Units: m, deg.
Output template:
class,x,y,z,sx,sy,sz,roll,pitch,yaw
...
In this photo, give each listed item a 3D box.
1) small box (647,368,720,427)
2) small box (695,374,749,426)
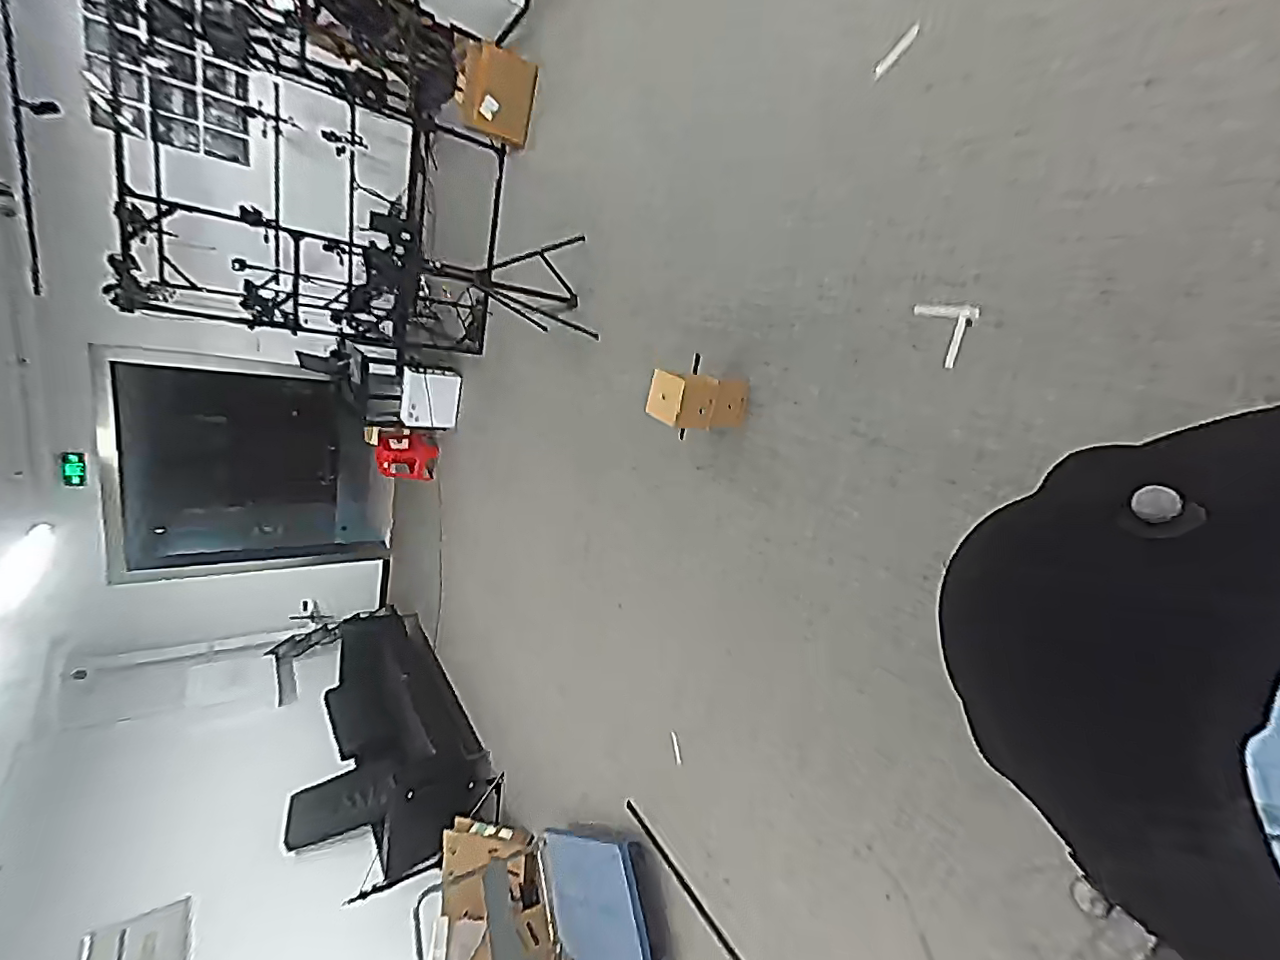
class,x,y,z,sx,sy,sz,roll,pitch,yaw
small box,0.155,-0.291,1.934,0.179,0.176,0.168,36,119,46
small box,0.284,-0.300,2.033,0.179,0.176,0.168,28,112,50
